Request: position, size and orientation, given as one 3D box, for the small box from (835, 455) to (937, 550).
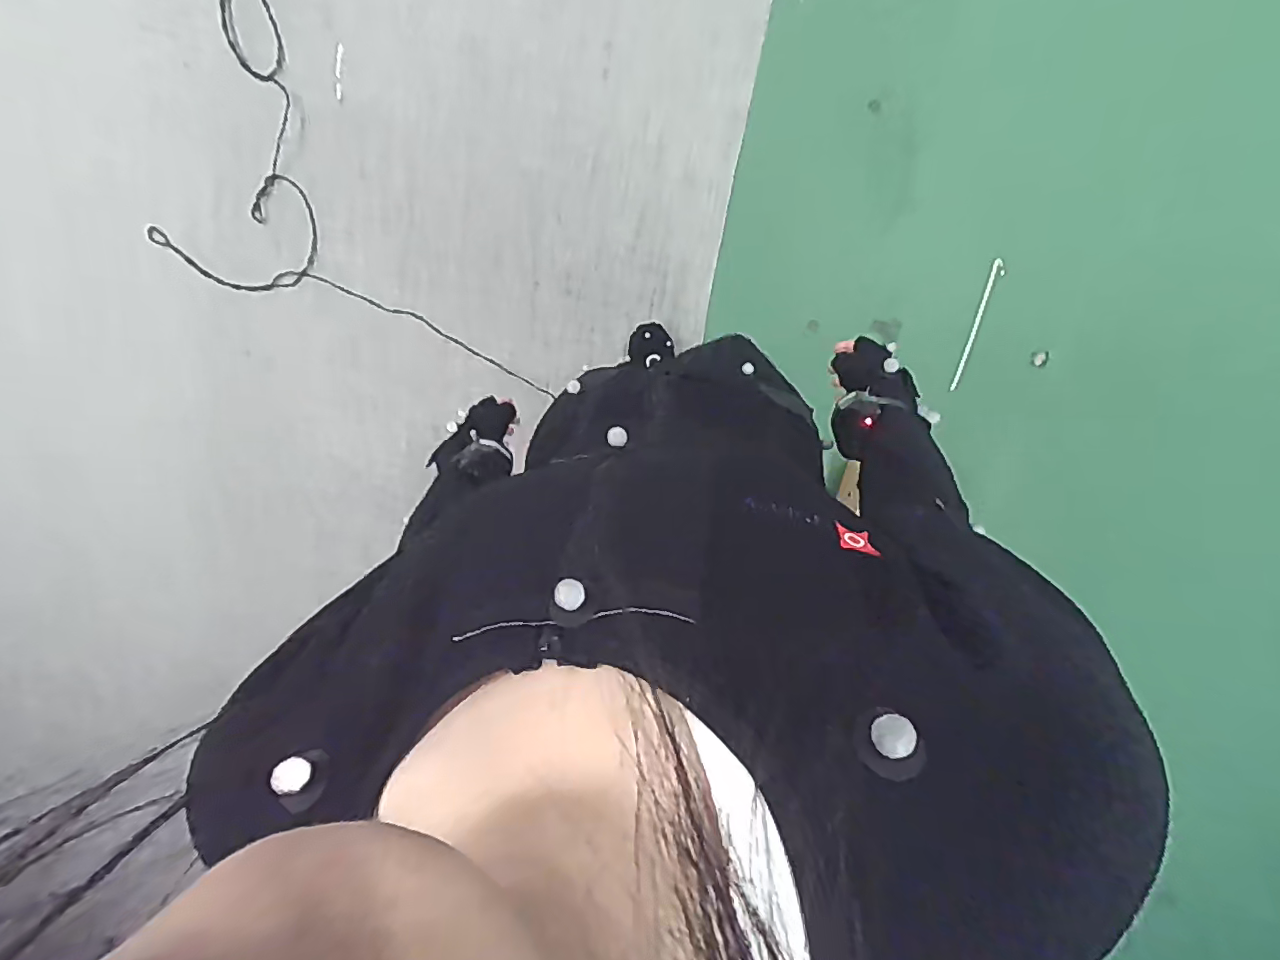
[{"bbox_3d":[0.615,0.052,1.381,0.168,0.176,0.179,13,106,1],"label":"small box"}]
